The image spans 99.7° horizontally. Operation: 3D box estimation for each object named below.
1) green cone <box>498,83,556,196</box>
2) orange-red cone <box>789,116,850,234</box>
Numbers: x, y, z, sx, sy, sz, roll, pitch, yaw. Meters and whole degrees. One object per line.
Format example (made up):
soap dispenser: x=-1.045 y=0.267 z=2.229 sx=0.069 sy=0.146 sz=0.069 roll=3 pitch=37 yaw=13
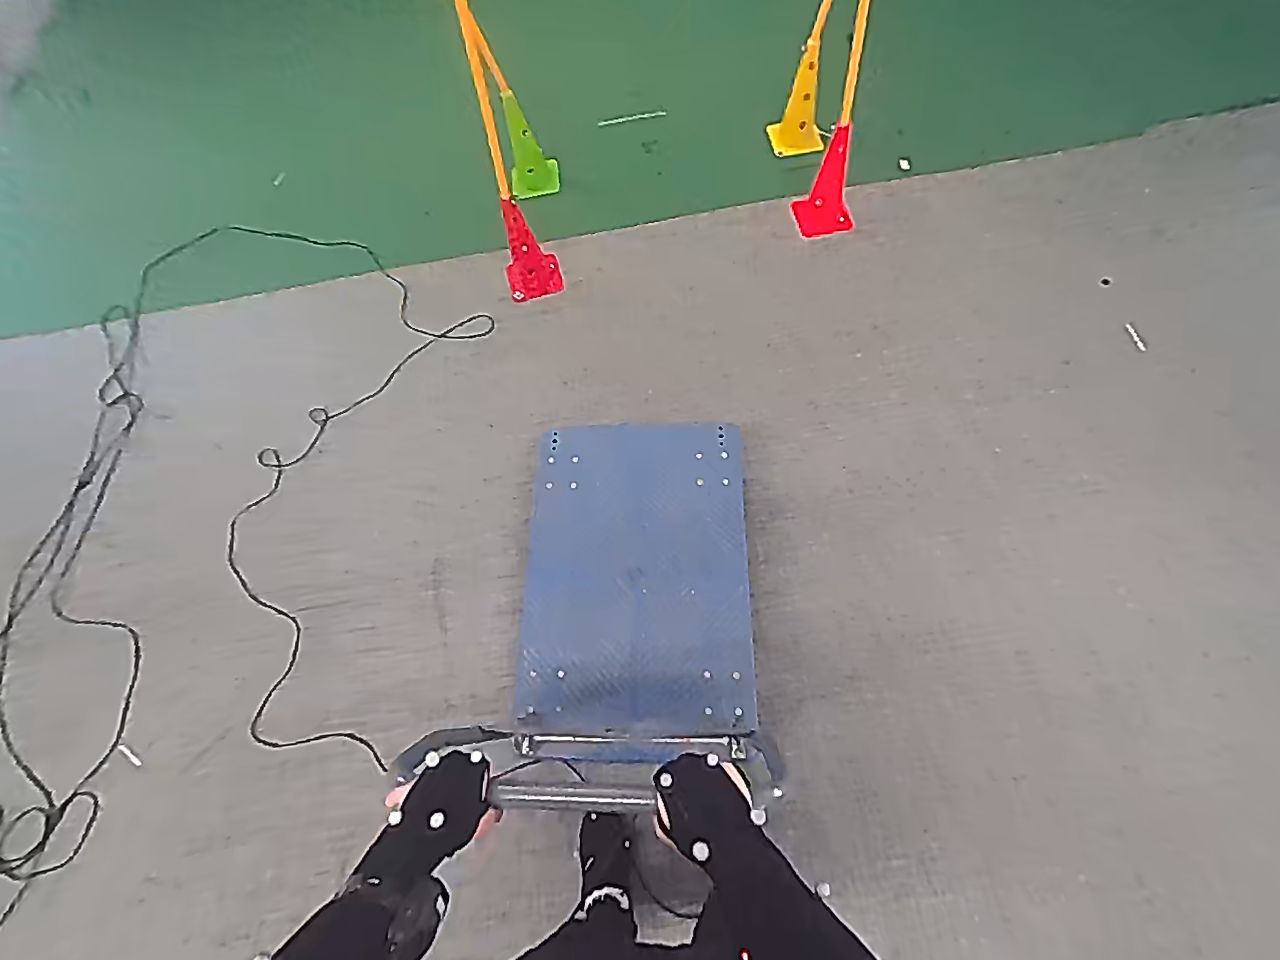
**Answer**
green cone: x=-0.473 y=-1.349 z=2.119 sx=0.200 sy=0.368 sz=0.202 roll=-10 pitch=65 yaw=2
orange-red cone: x=0.666 y=-1.085 z=1.894 sx=0.198 sy=0.360 sz=0.199 roll=-9 pitch=64 yaw=1
